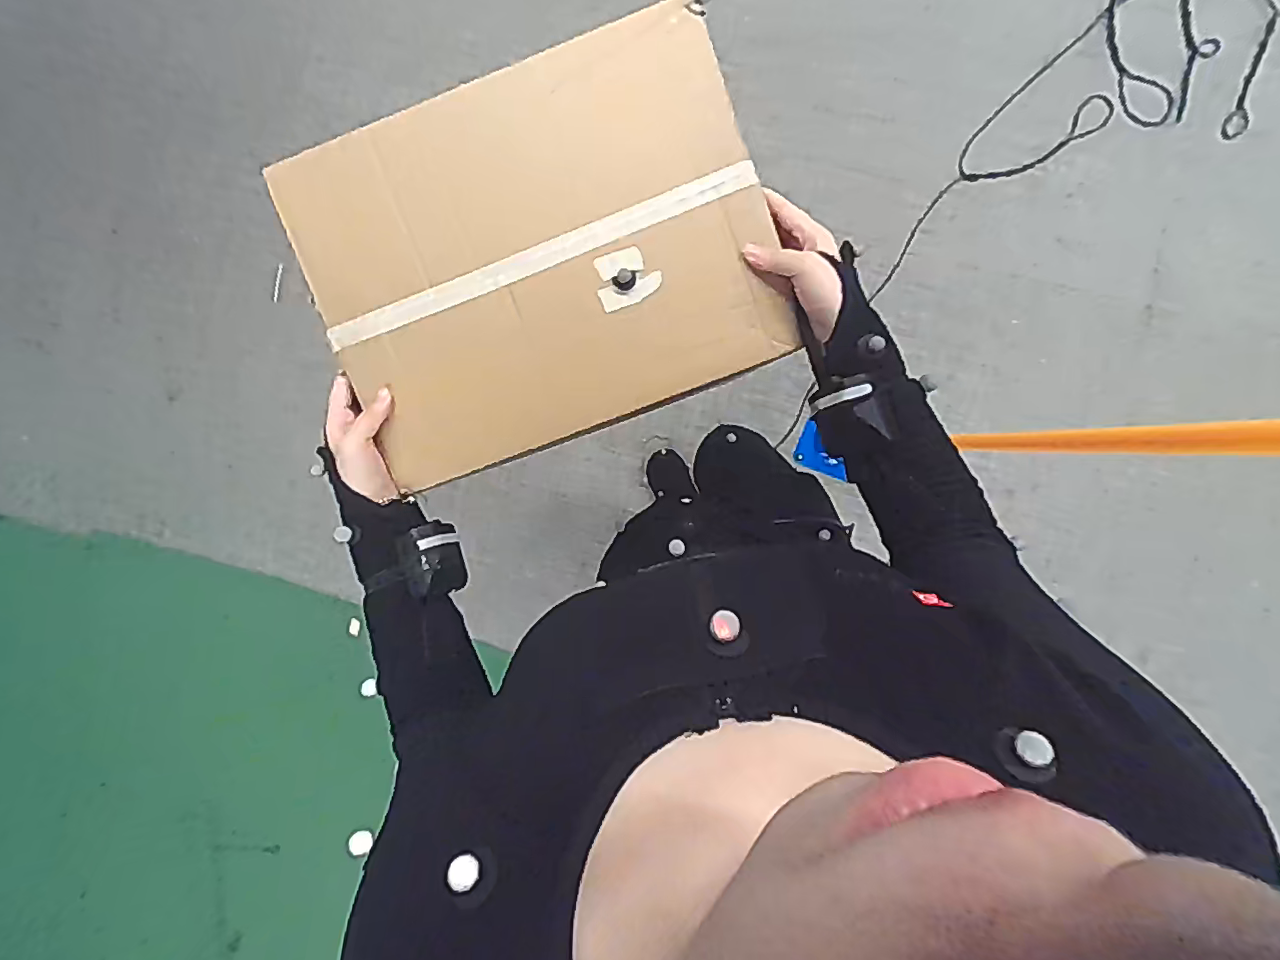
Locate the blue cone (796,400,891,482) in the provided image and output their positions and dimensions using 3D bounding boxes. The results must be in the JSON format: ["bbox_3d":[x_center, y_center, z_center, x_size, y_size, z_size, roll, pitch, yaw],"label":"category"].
[{"bbox_3d":[0.517,-0.089,1.284,0.193,0.380,0.192,23,98,3],"label":"blue cone"}]

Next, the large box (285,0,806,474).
[{"bbox_3d":[-0.083,-0.228,0.634,0.408,0.320,0.320,-20,97,2],"label":"large box"}]
